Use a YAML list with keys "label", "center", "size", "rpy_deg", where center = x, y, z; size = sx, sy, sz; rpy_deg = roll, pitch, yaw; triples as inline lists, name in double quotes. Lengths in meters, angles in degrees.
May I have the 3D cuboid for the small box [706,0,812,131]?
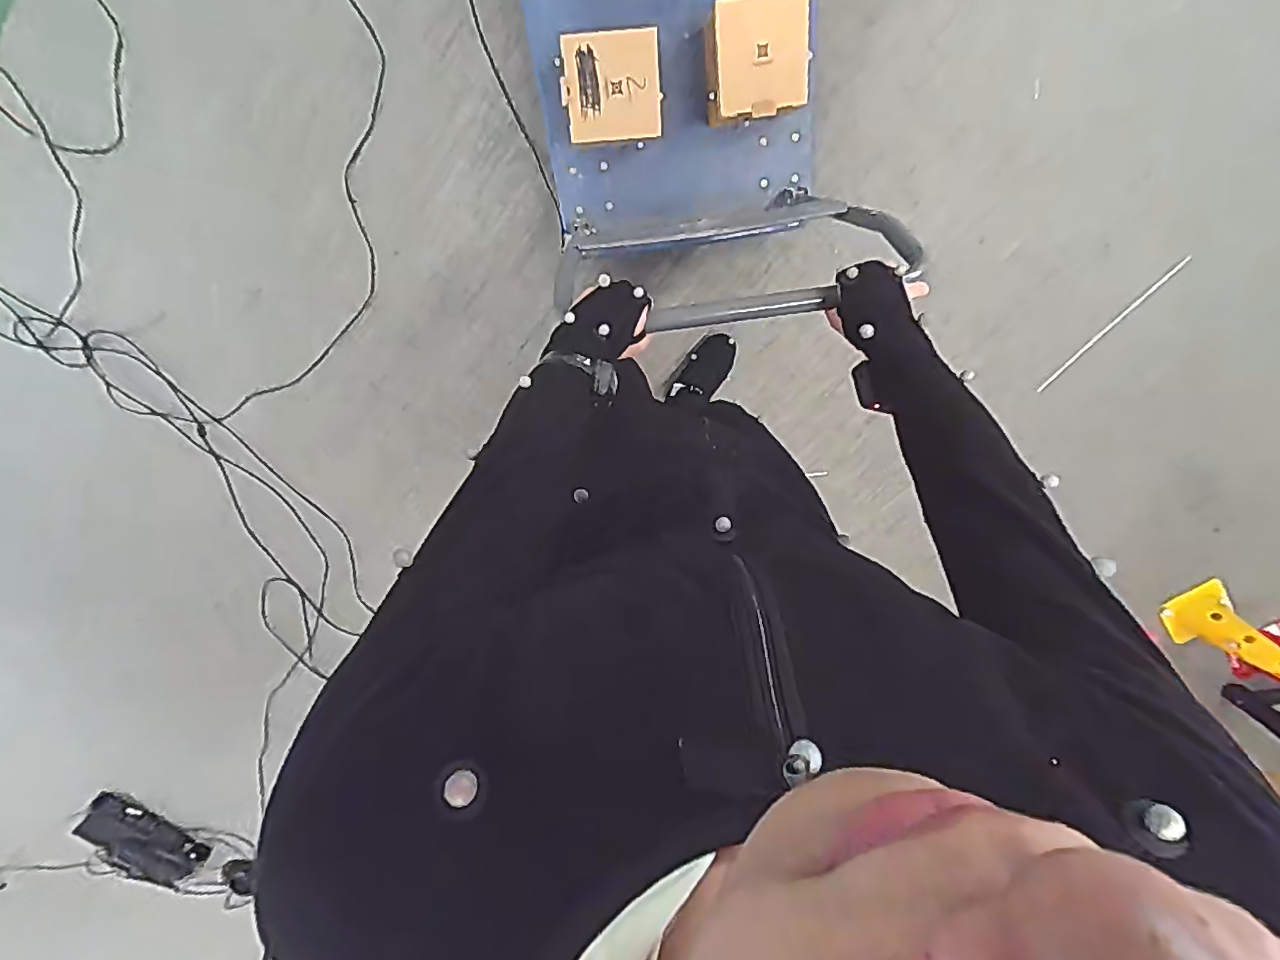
- label: "small box"
  center: [0.223, -0.795, 1.043]
  size: [0.168, 0.176, 0.179]
  rpy_deg: [-7, 118, 3]
